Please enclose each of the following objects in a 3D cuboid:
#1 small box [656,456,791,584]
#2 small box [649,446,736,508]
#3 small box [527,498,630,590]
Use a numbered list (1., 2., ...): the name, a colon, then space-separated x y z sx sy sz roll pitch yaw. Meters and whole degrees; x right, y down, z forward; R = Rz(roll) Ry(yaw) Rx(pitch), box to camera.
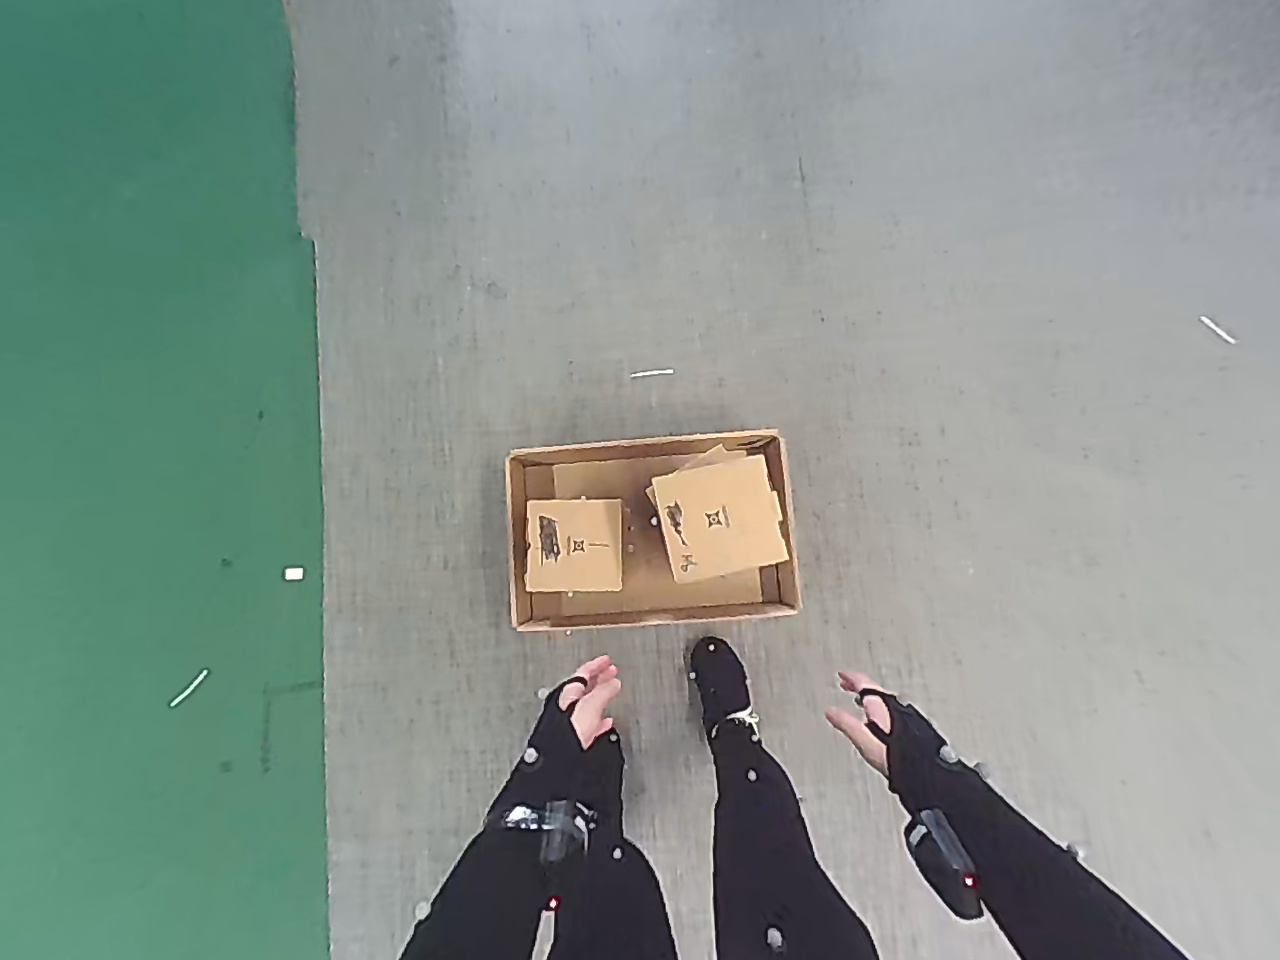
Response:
1. small box: 0.125 0.066 0.881 0.179 0.176 0.168 -12 83 1
2. small box: 0.132 0.058 1.046 0.168 0.176 0.179 -31 83 -1
3. small box: -0.112 0.126 1.048 0.179 0.176 0.168 0 83 1
